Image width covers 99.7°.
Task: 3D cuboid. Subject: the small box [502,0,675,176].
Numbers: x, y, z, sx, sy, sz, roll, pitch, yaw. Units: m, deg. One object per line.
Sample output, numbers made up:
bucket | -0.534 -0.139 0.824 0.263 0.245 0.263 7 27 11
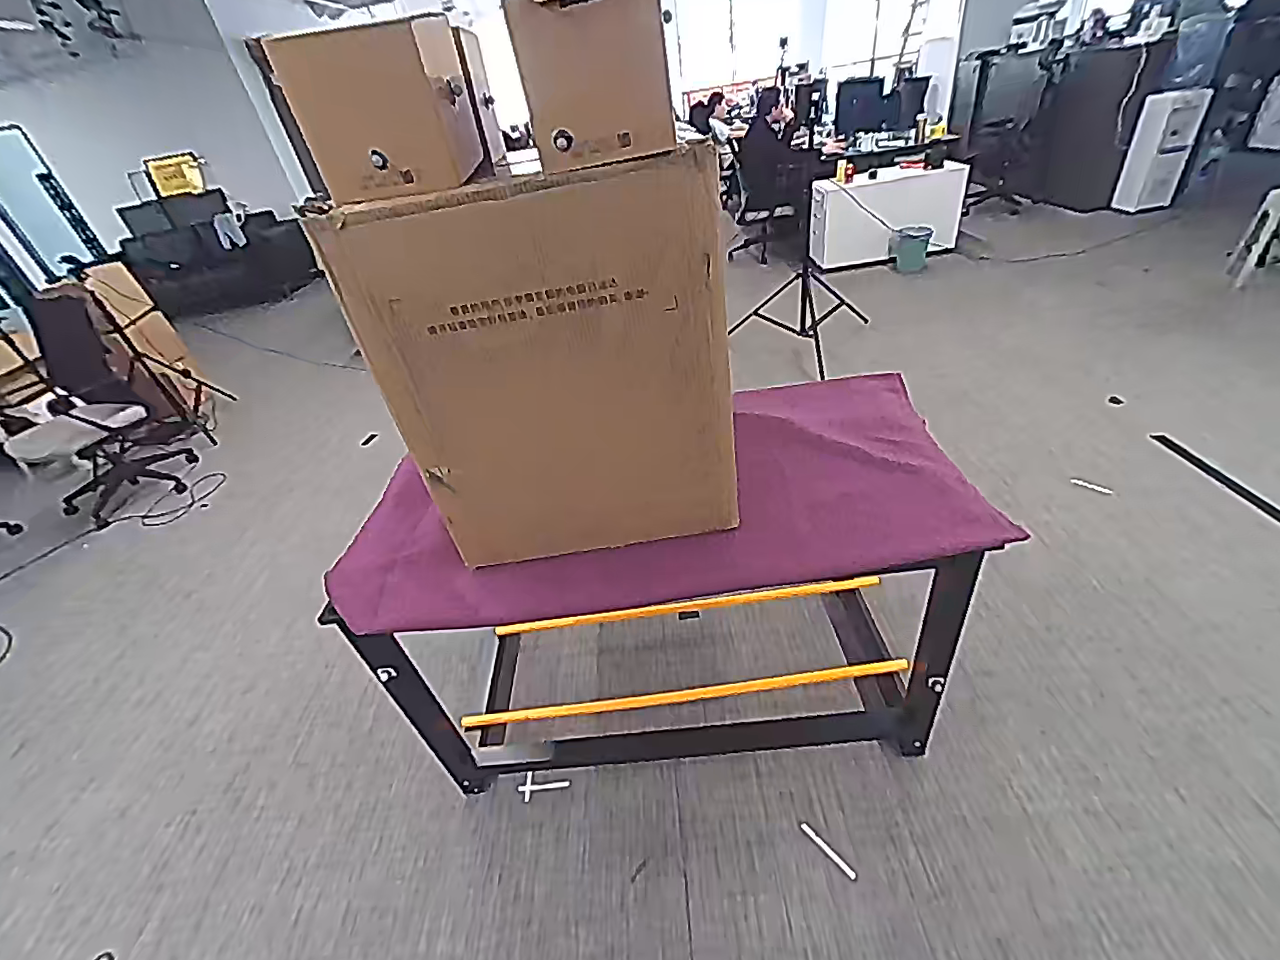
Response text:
small box | -0.052 -0.486 0.661 0.168 0.176 0.179 -9 38 4
